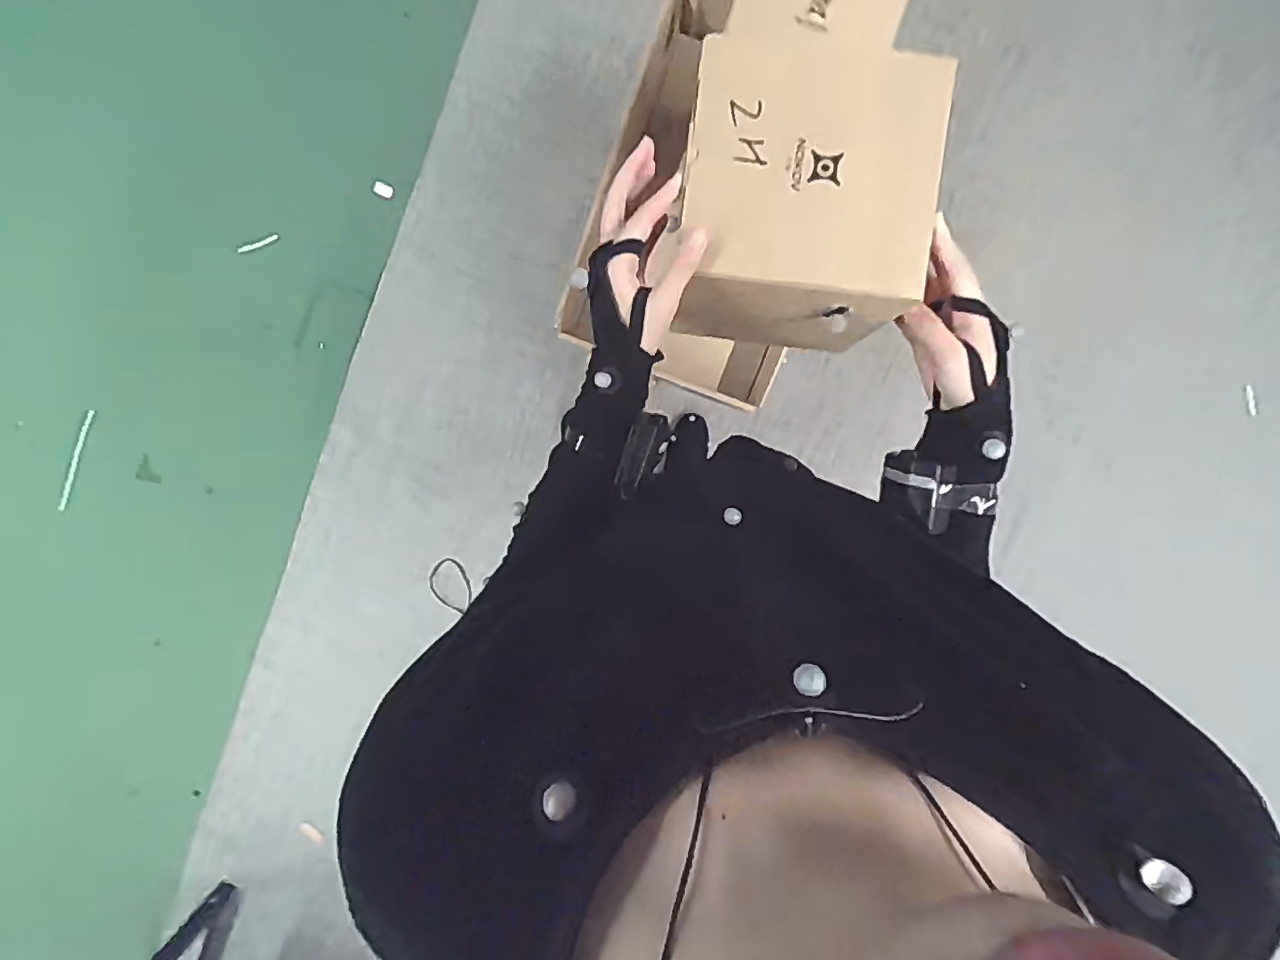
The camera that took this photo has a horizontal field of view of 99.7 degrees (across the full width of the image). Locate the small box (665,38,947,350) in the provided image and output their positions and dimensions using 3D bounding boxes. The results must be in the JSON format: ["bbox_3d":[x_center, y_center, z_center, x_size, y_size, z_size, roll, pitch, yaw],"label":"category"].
[{"bbox_3d":[0.118,-0.215,0.454,0.179,0.176,0.168,8,89,2],"label":"small box"}]
